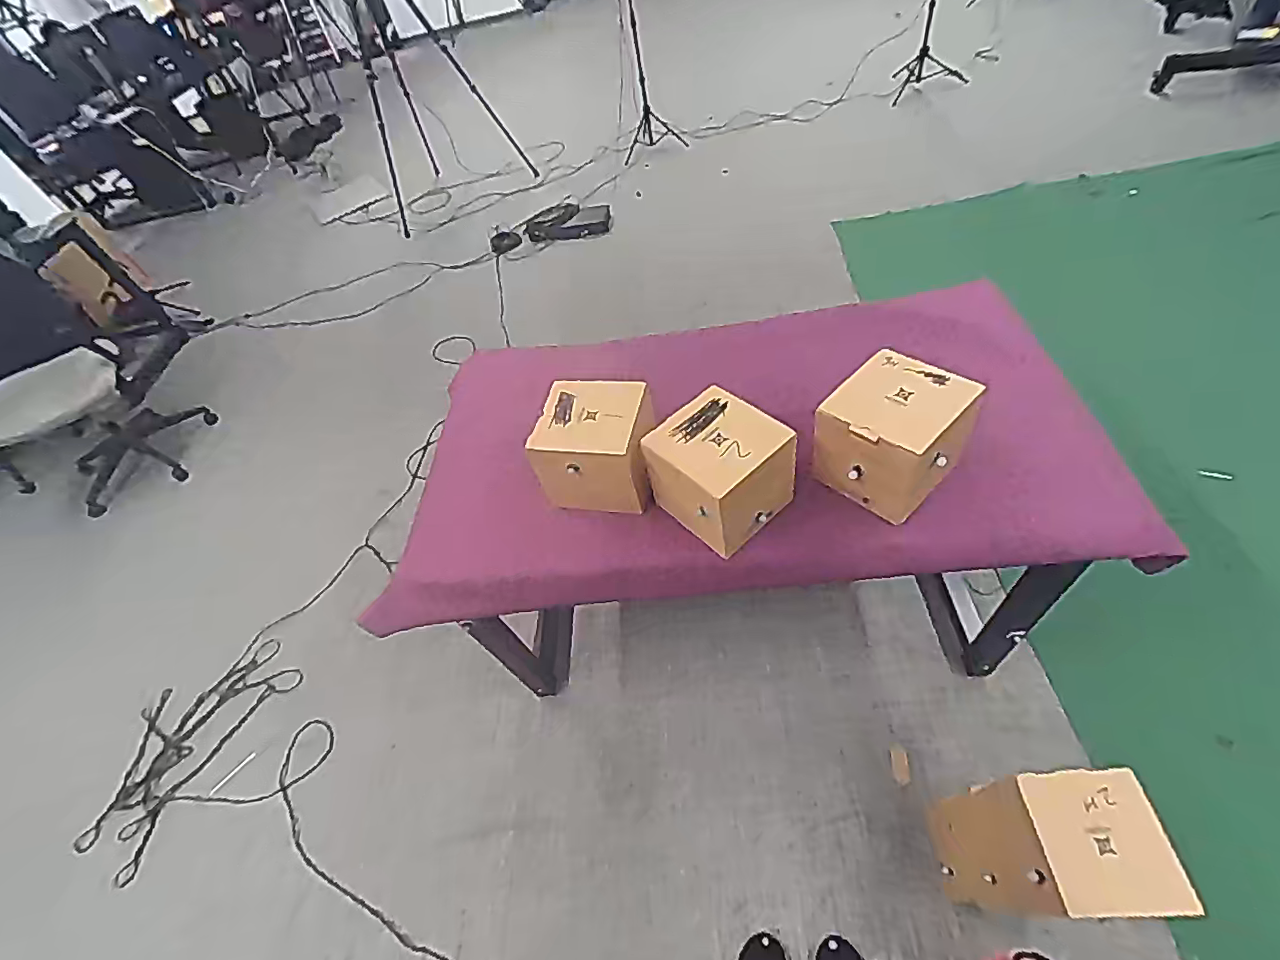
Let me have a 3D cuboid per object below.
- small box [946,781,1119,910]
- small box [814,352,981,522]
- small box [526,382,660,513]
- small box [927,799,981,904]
[{"bbox_3d":[0.675,0.652,0.961,0.168,0.176,0.179,-8,52,7],"label":"small box"},{"bbox_3d":[0.397,-0.066,0.860,0.179,0.176,0.168,-40,53,-18],"label":"small box"},{"bbox_3d":[-0.073,-0.056,0.965,0.179,0.176,0.168,4,53,15],"label":"small box"},{"bbox_3d":[0.699,0.749,1.088,0.179,0.176,0.168,-5,51,8],"label":"small box"}]
